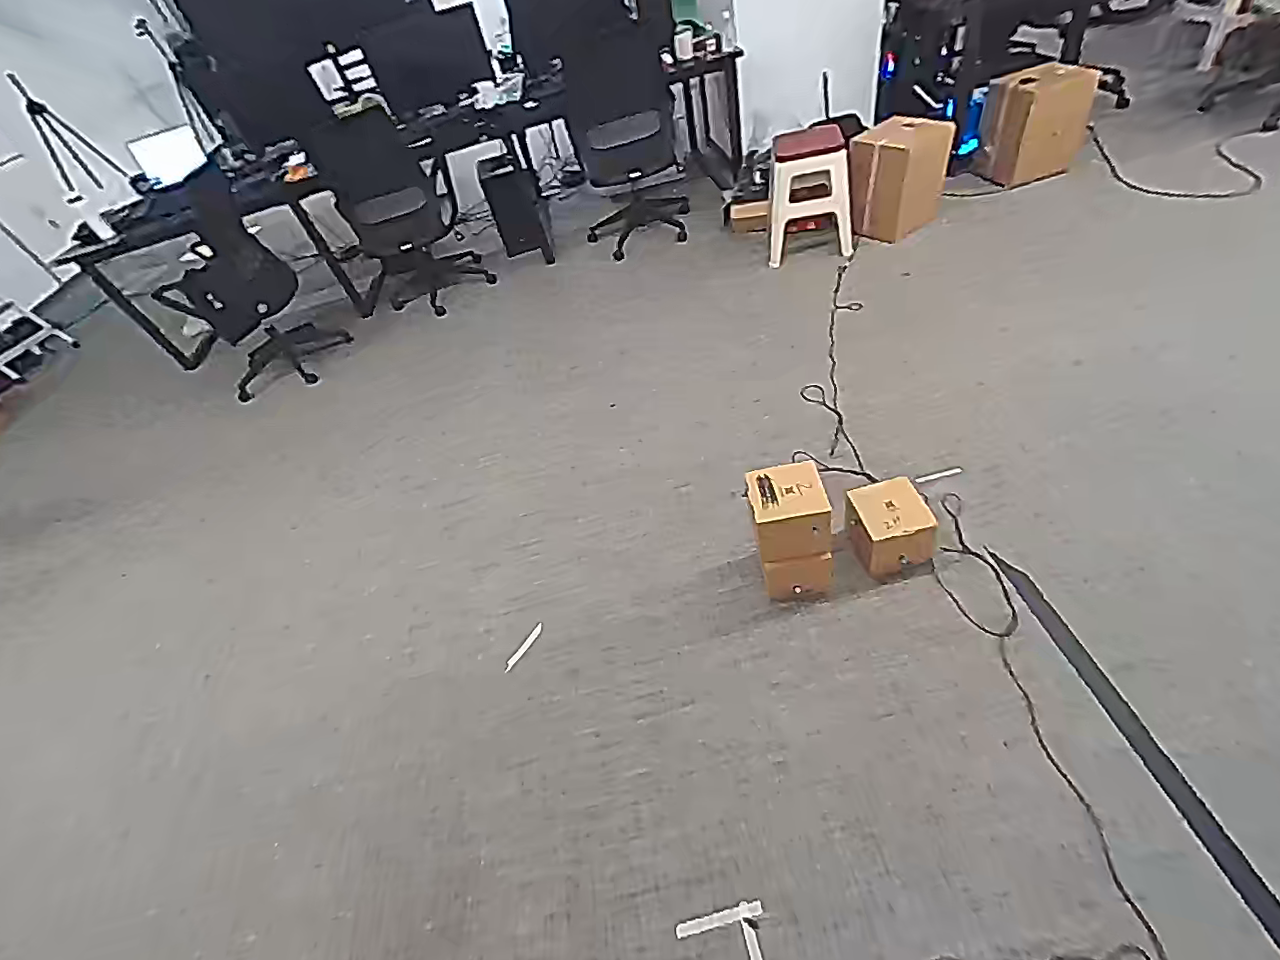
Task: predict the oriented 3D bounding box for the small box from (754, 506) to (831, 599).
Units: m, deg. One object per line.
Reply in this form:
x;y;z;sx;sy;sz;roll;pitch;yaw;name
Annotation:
0.409;0.198;1.464;0.168;0.176;0.179;-11;47;8;small box

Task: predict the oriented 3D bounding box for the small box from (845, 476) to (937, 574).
0.663;0.123;1.454;0.168;0.176;0.179;-16;46;5;small box
